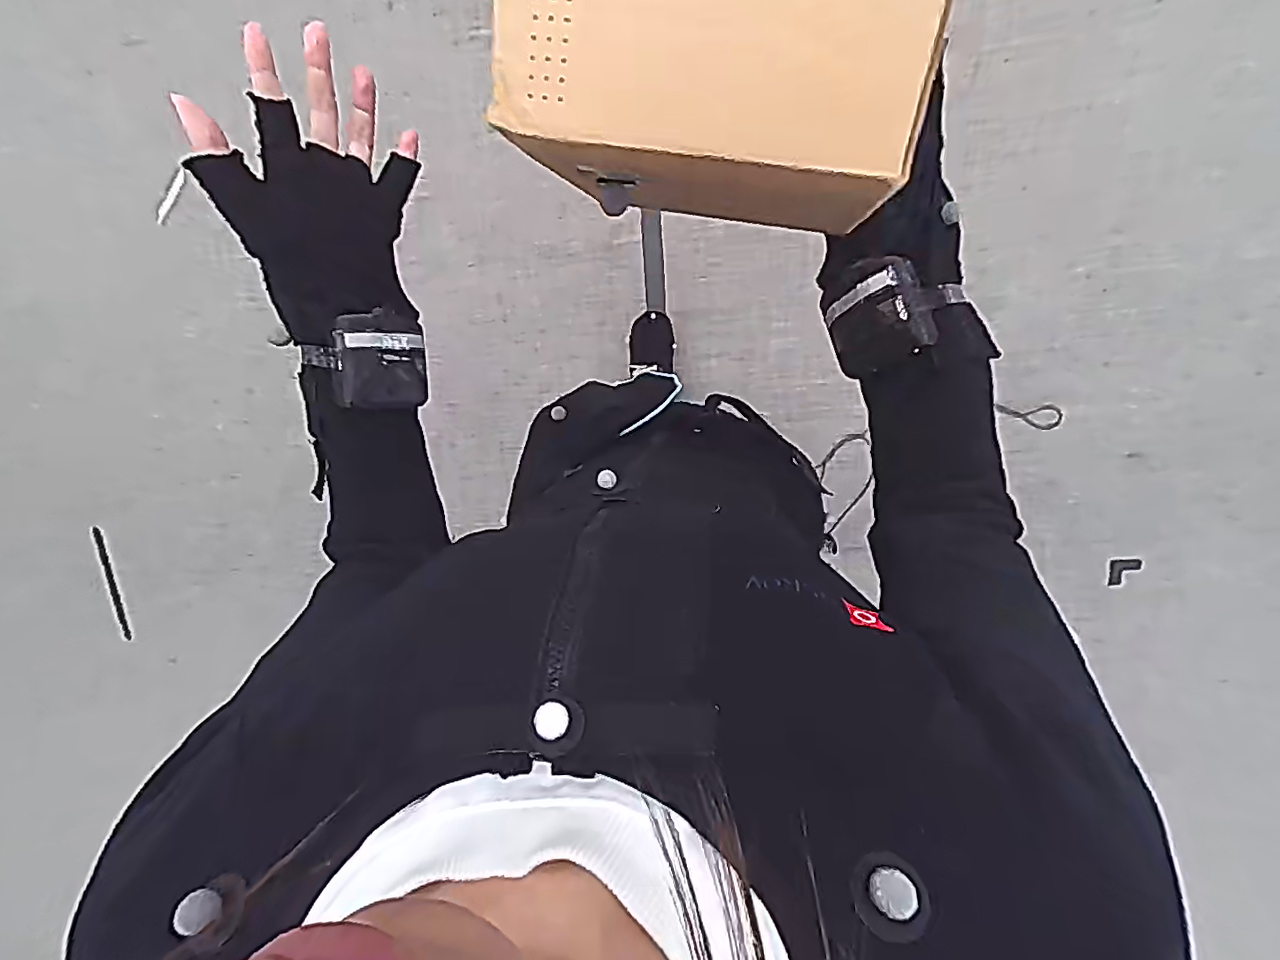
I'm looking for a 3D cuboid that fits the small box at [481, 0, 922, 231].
[{"bbox_3d":[0.037,-0.236,0.265,0.176,0.168,0.179,12,110,10],"label":"small box"}]
